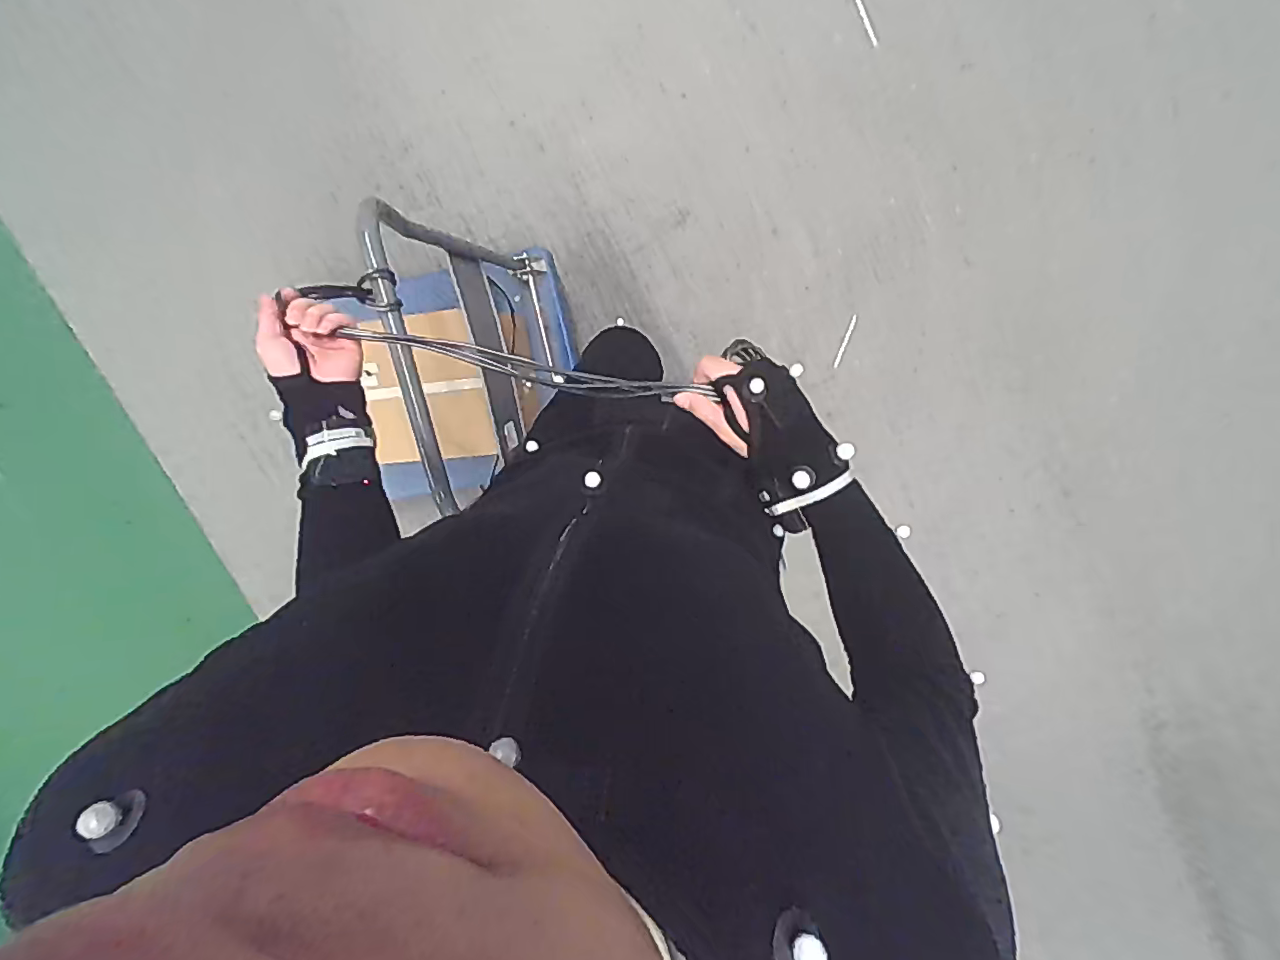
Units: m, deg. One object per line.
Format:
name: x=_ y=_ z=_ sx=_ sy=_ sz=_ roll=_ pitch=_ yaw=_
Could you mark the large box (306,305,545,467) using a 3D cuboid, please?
large box: x=-0.487 y=-0.231 z=1.308 sx=0.408 sy=0.320 sz=0.320 roll=-4 pitch=104 yaw=10
